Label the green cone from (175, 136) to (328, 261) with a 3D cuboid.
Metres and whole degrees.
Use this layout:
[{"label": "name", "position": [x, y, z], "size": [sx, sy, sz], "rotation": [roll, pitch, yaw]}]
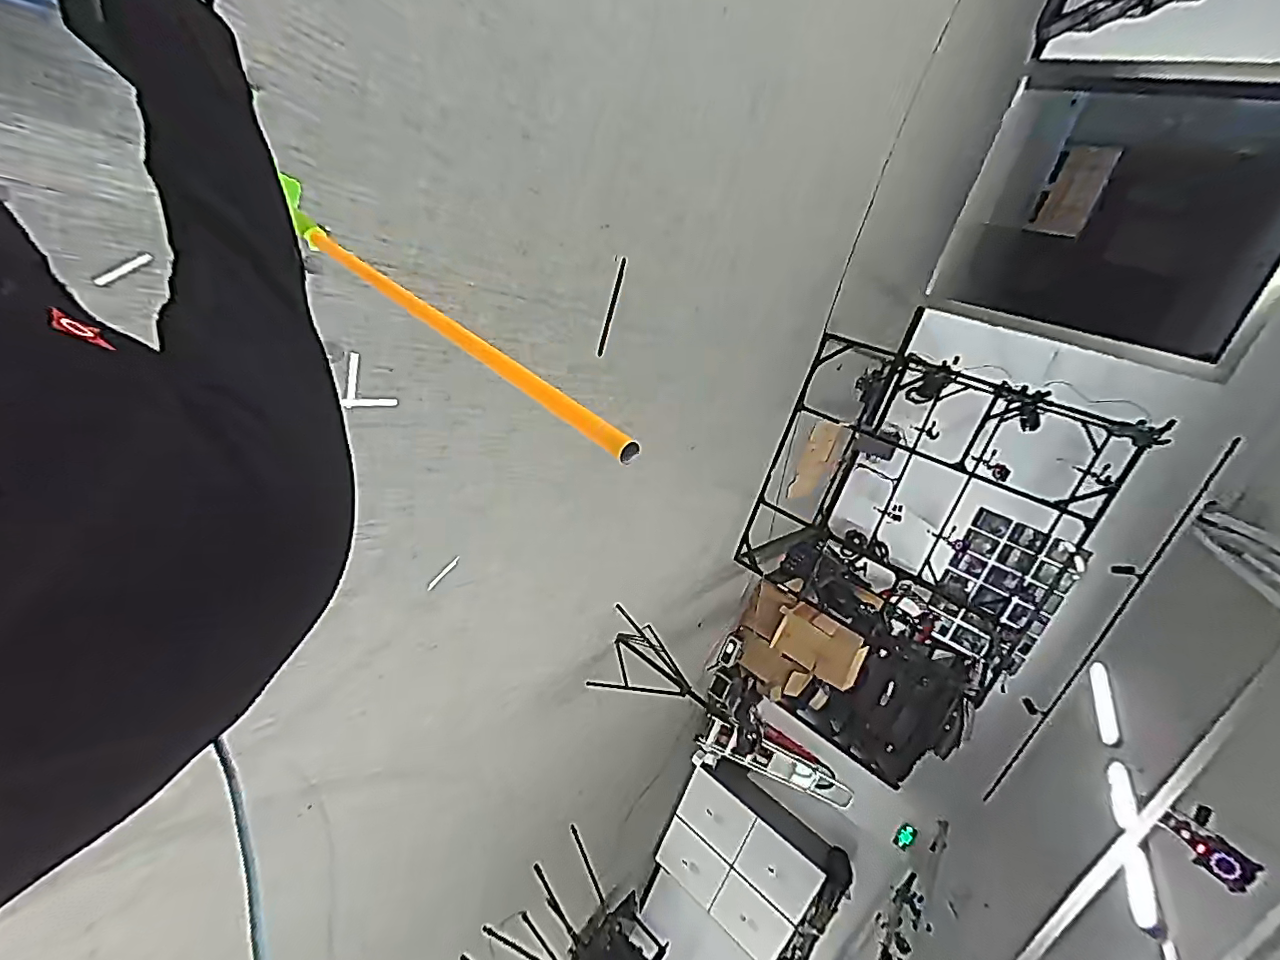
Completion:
[{"label": "green cone", "position": [-0.731, -0.519, 1.072], "size": [0.202, 0.368, 0.200], "rotation": [-3, 118, -57]}]
